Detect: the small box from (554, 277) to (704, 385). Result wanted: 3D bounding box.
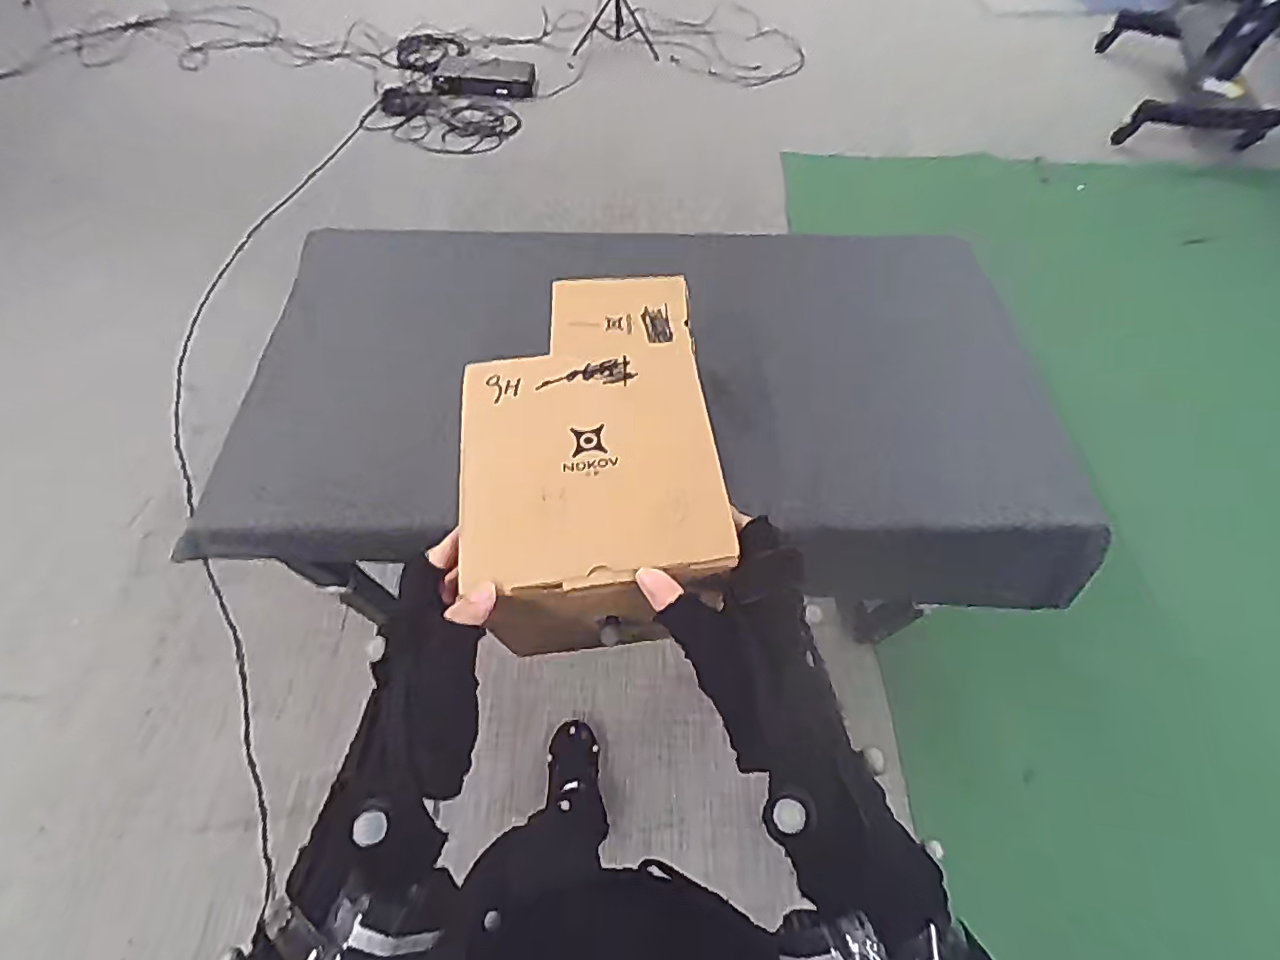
[{"bbox_3d":[-0.021,-0.151,0.733,0.179,0.176,0.168,-4,61,-4],"label":"small box"}]

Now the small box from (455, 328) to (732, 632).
[{"bbox_3d":[-0.033,0.013,0.418,0.168,0.176,0.179,-7,63,-2],"label":"small box"}]
